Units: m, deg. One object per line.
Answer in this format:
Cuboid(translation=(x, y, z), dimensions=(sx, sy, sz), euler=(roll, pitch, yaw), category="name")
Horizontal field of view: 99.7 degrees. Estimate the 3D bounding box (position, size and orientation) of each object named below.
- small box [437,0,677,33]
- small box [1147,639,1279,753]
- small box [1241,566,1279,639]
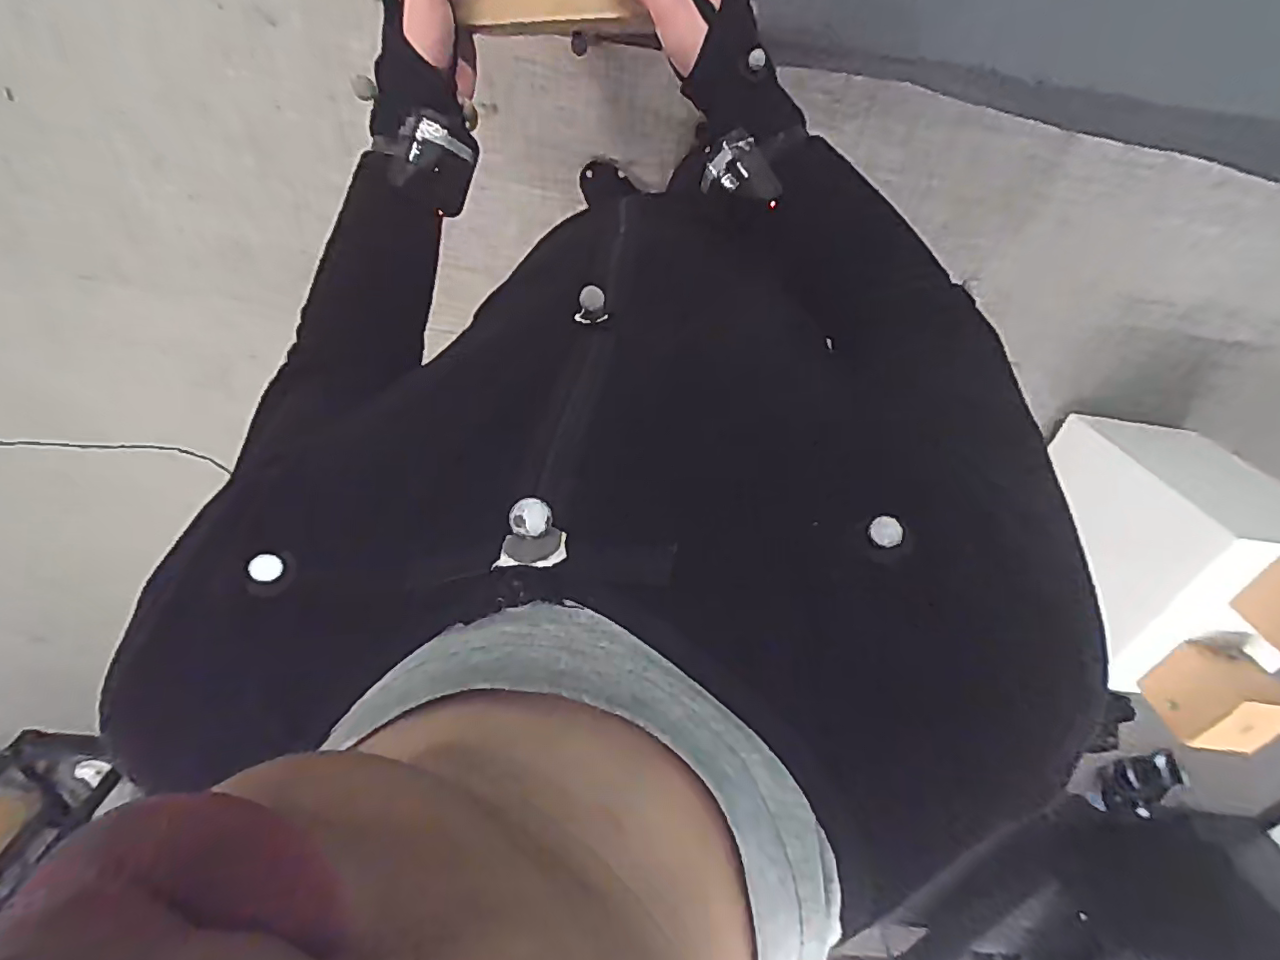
Cuboid(translation=(-0.062, -0.452, 0.409), dimensions=(0.179, 0.176, 0.168), euler=(-1, 127, 2), category="small box")
Cuboid(translation=(1.352, 0.500, 1.257), dimensions=(0.168, 0.176, 0.179), euler=(8, 123, -5), category="small box")
Cuboid(translation=(1.402, 0.261, 1.085), dimensions=(0.168, 0.176, 0.179), euler=(7, 127, -2), category="small box")
